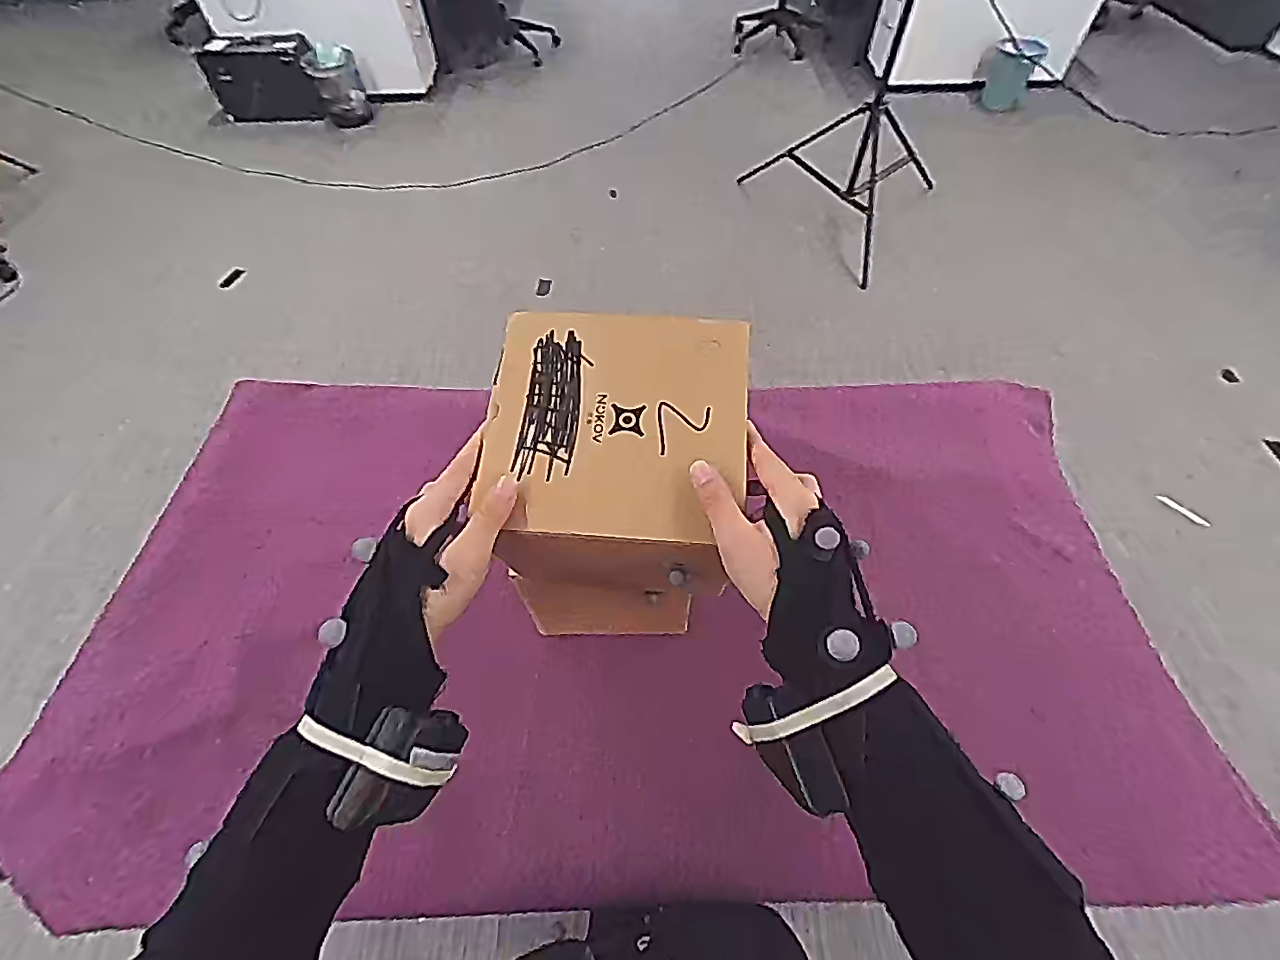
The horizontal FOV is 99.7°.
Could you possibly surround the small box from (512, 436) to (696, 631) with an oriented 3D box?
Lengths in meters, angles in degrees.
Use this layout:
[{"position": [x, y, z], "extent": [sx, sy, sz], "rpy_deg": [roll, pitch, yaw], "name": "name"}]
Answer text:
[{"position": [-0.032, 0.066, 0.614], "extent": [0.179, 0.176, 0.168], "rpy_deg": [0, 55, 0], "name": "small box"}]
